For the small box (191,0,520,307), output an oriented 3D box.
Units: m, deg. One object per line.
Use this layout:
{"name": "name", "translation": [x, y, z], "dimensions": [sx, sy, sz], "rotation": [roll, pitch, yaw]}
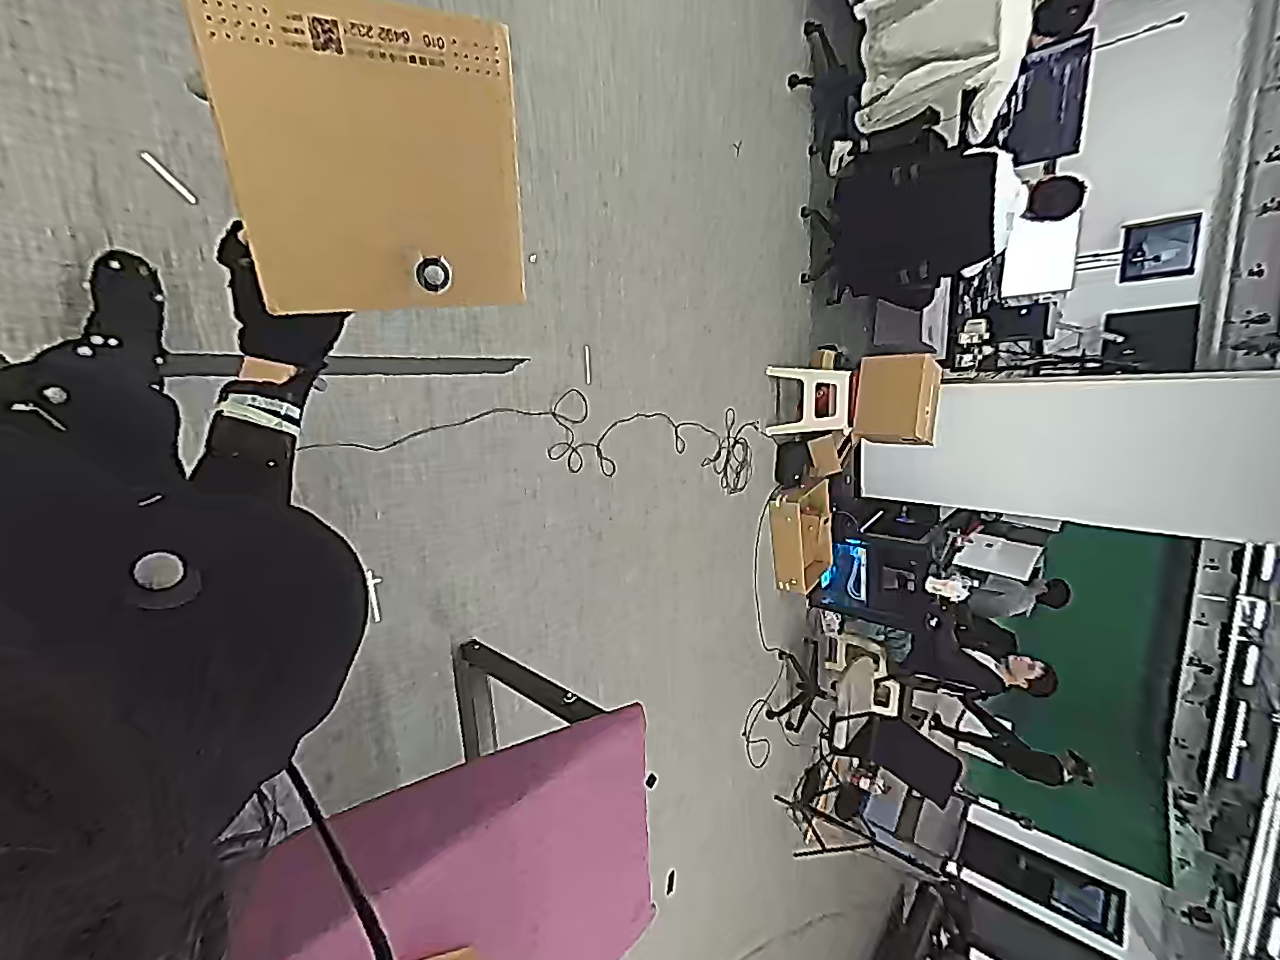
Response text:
{"name": "small box", "translation": [-0.193, -0.228, 0.394], "dimensions": [0.168, 0.179, 0.176], "rotation": [-11, 120, -26]}
